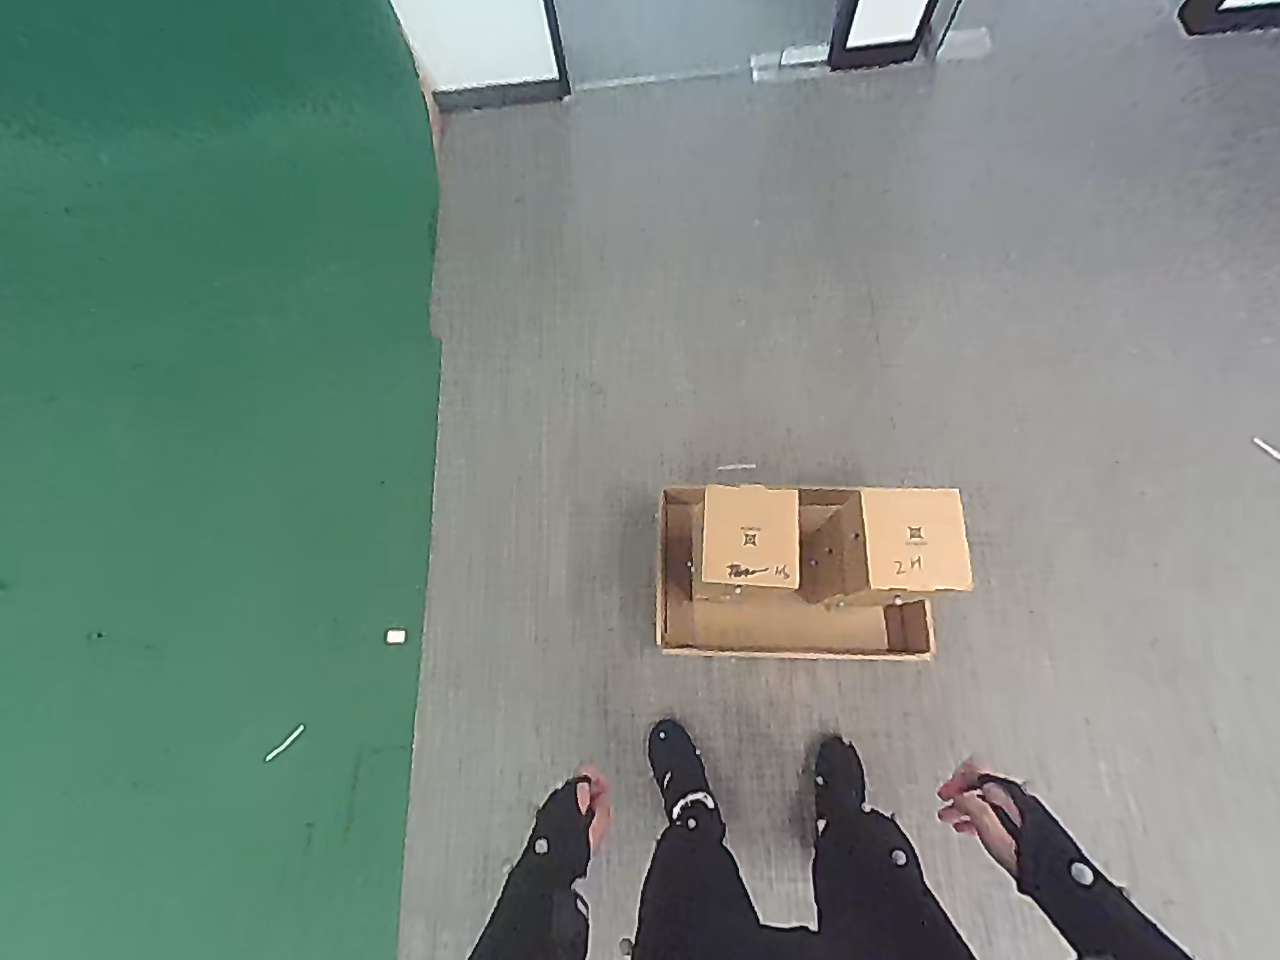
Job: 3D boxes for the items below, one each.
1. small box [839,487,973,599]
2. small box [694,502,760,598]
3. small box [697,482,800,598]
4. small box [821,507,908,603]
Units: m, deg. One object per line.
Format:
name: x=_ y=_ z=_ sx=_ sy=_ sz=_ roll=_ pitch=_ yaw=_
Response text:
small box: x=0.469 y=0.119 z=0.983 sx=0.168 sy=0.176 sz=0.179 roll=0 pitch=73 yaw=6
small box: x=0.204 y=0.155 z=1.163 sx=0.168 sy=0.176 sz=0.179 roll=1 pitch=73 yaw=3
small box: x=0.194 y=0.116 z=1.003 sx=0.168 sy=0.176 sz=0.179 roll=4 pitch=72 yaw=4
small box: x=0.484 y=0.164 z=1.141 sx=0.168 sy=0.176 sz=0.179 roll=2 pitch=72 yaw=6
